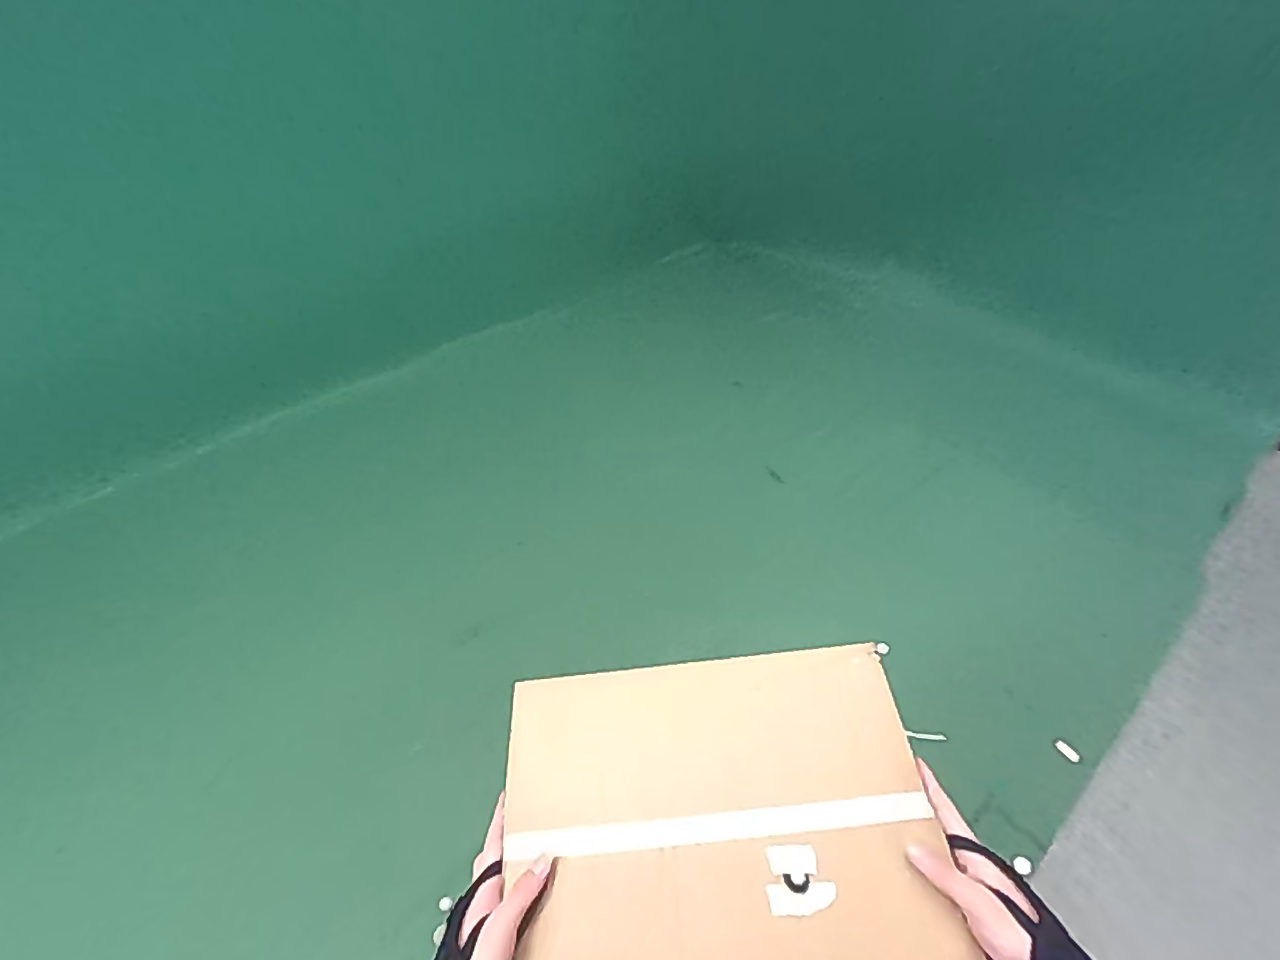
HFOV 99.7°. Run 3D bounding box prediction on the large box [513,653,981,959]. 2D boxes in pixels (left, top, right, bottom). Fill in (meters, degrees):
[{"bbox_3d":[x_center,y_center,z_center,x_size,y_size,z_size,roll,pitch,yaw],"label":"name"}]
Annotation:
[{"bbox_3d":[0.092,0.430,0.636,0.408,0.320,0.320,-6,52,2],"label":"large box"}]
